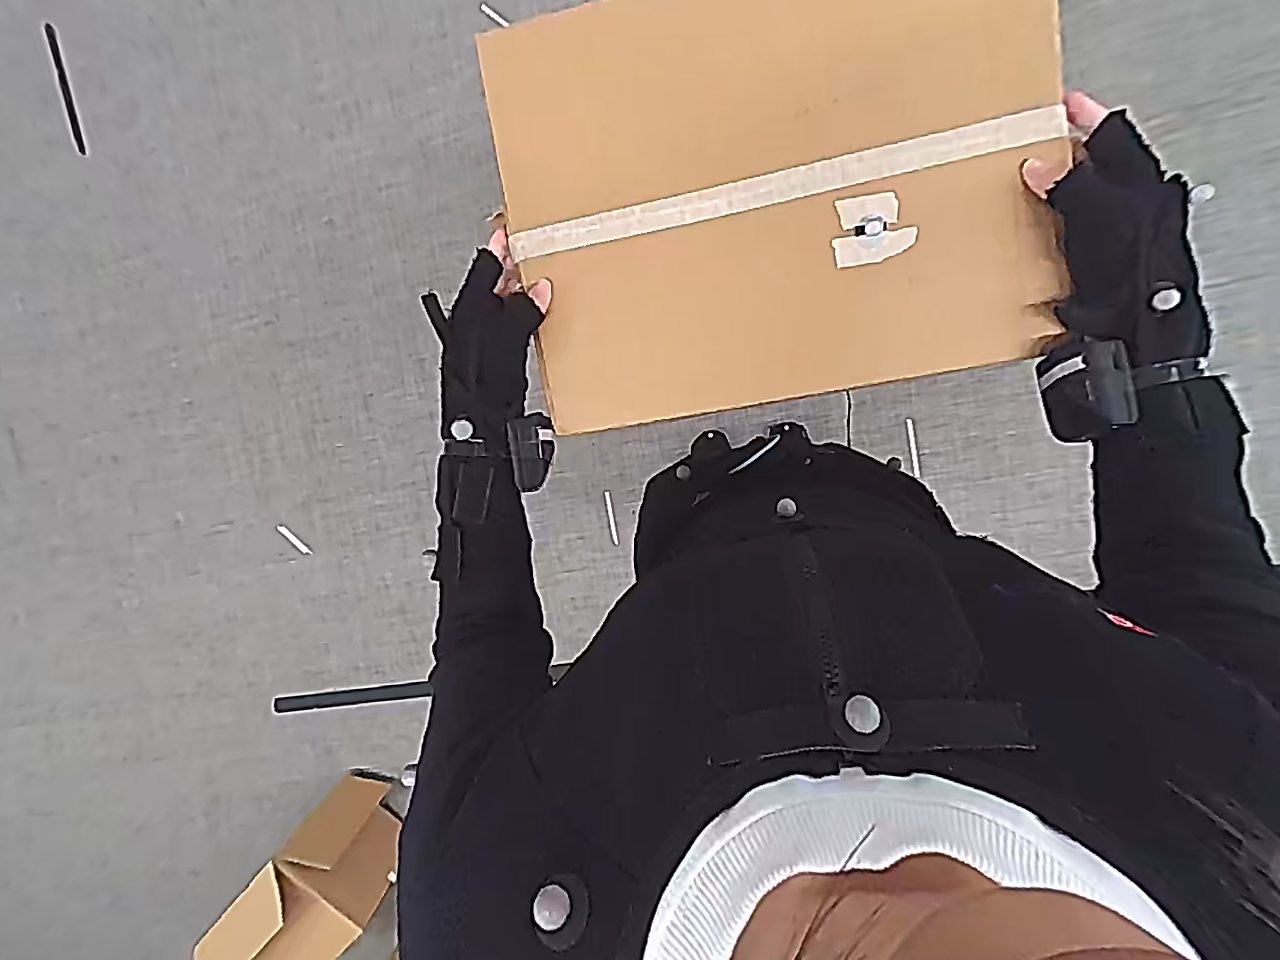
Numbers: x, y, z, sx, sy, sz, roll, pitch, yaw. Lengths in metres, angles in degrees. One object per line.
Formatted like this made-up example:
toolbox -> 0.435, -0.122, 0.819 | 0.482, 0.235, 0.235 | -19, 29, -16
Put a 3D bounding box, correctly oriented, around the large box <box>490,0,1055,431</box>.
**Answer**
large box -> 0.114, -0.245, 0.568 | 0.408, 0.320, 0.320 | -9, 98, 8
